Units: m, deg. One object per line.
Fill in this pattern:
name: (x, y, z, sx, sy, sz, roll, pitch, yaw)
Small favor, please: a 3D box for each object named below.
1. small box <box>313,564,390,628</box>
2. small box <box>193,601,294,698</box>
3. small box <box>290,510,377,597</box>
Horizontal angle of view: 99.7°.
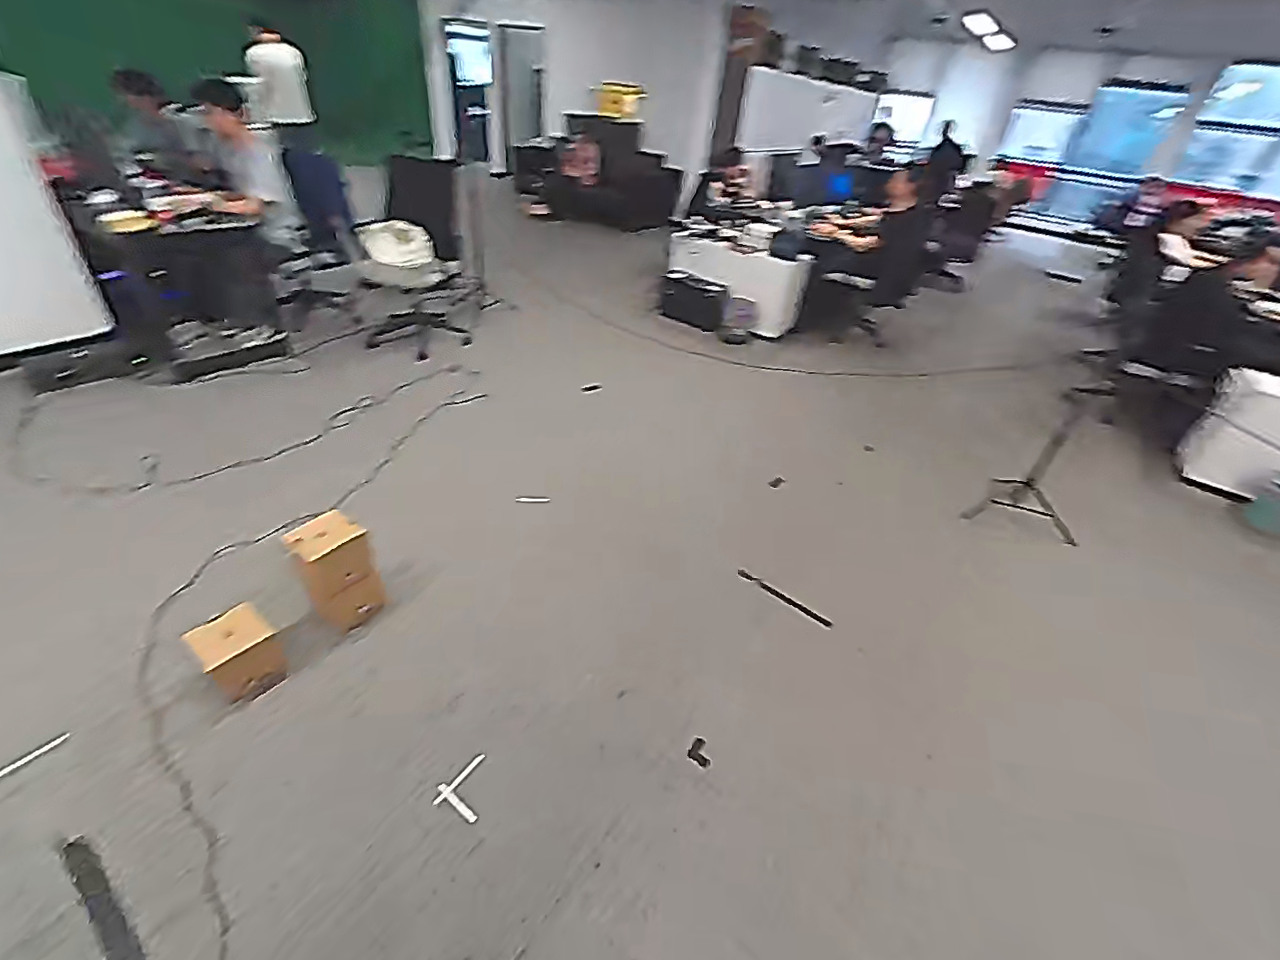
small box: (-0.967, 0.360, 1.805, 0.179, 0.176, 0.168, 27, 41, 24)
small box: (-1.158, 0.498, 1.587, 0.179, 0.176, 0.168, 30, 43, 27)
small box: (-0.955, 0.230, 1.704, 0.168, 0.176, 0.179, 26, 39, 25)
